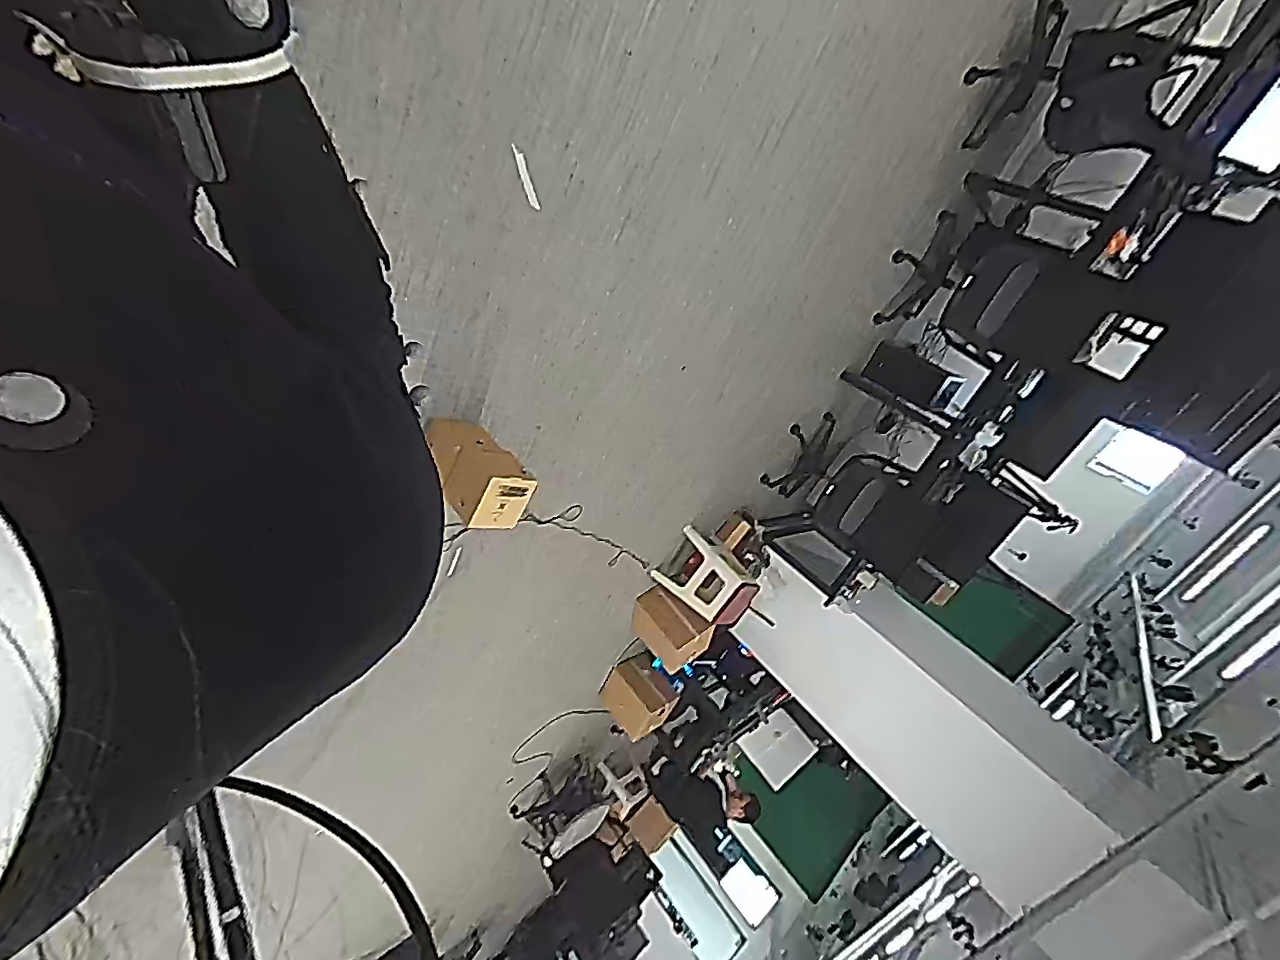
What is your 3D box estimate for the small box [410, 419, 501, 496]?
[{"bbox_3d":[-0.564,-0.070,1.647,0.179,0.176,0.168,9,117,-52],"label":"small box"}]
